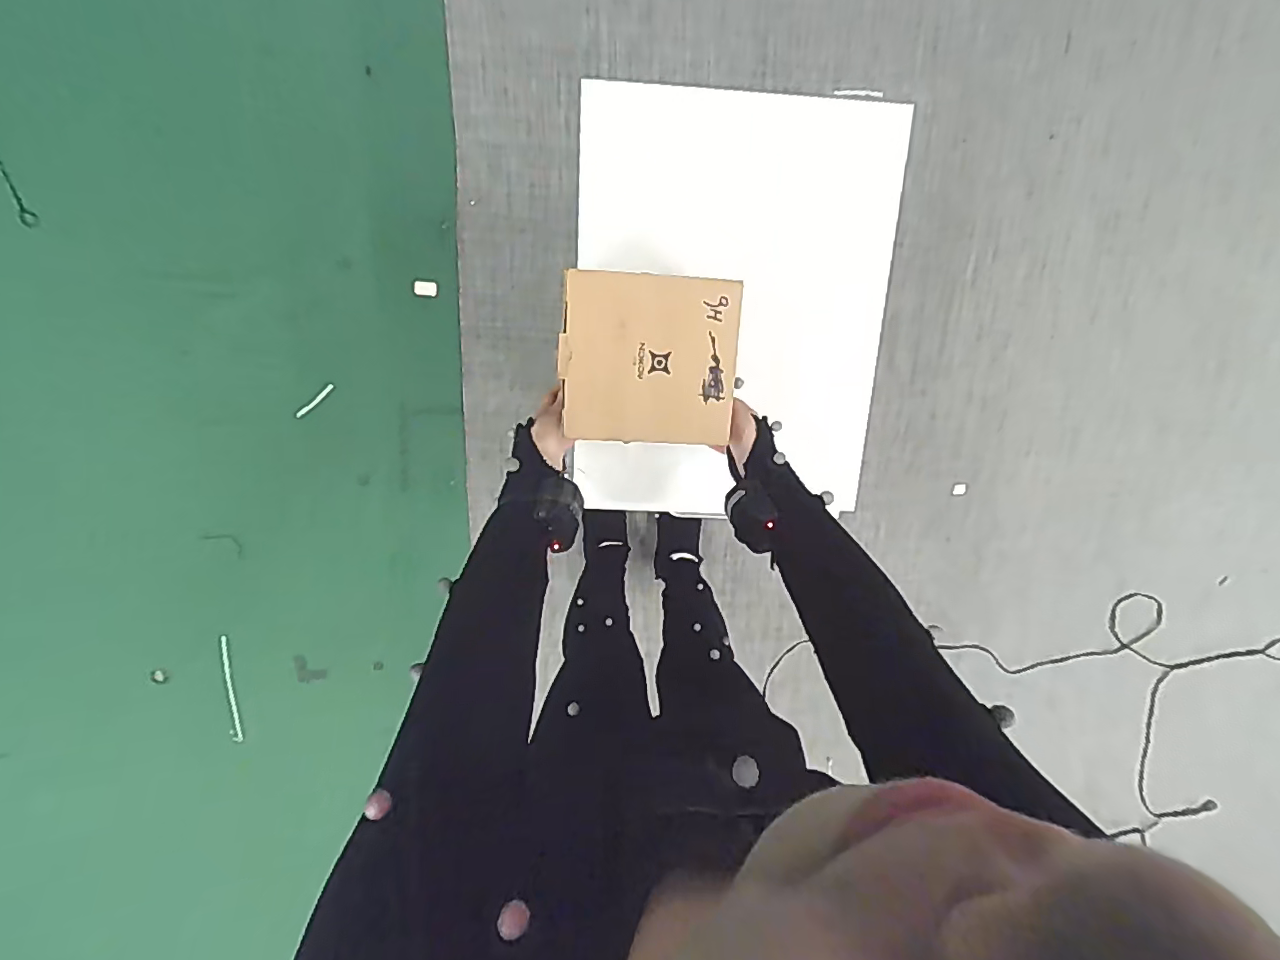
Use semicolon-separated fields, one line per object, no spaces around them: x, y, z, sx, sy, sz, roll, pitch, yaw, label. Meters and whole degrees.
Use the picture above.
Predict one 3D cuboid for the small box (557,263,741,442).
0.002;-0.140;0.615;0.179;0.176;0.168;3;103;-5;small box
